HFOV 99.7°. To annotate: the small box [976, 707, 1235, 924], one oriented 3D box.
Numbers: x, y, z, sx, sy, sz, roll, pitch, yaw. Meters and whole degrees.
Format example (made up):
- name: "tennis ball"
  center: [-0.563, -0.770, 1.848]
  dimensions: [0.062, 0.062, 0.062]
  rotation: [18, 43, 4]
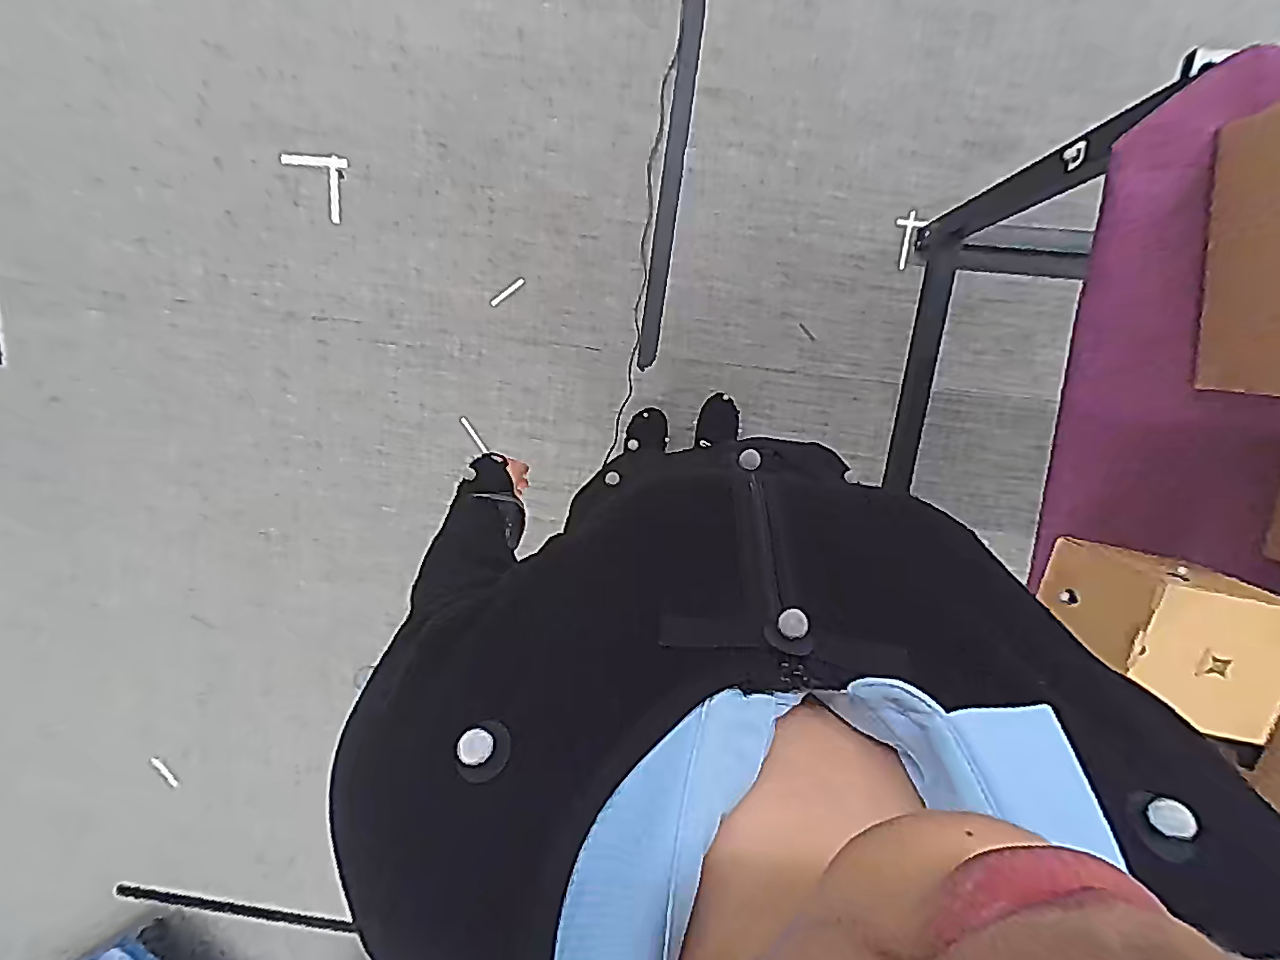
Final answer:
- name: "small box"
  center: [0.593, 0.431, 0.720]
  dimensions: [0.179, 0.176, 0.168]
  rotation: [10, 103, 0]
